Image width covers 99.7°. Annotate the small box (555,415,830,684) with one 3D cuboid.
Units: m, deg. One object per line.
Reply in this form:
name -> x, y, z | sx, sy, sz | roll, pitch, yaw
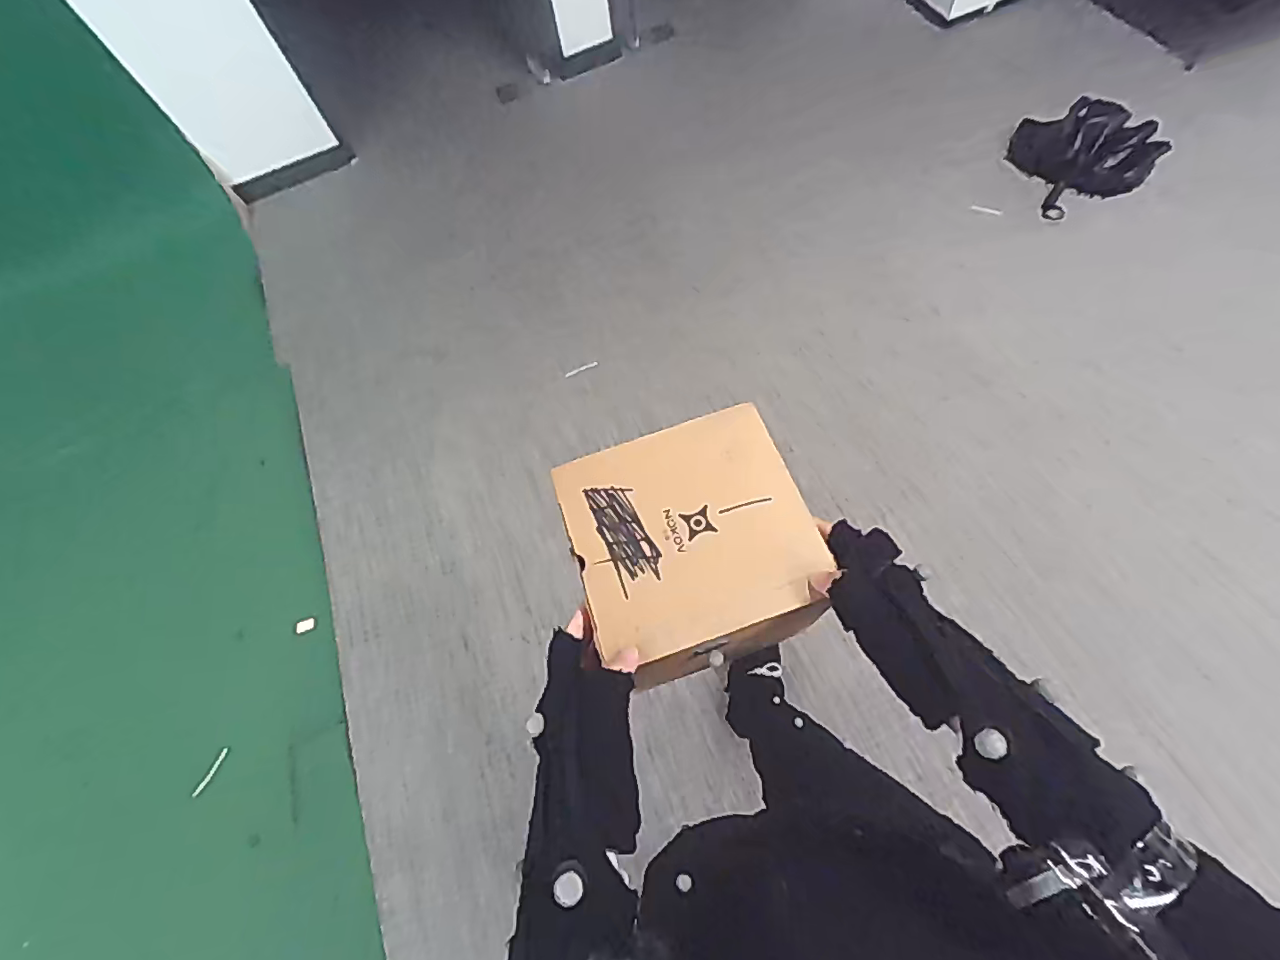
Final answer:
small box -> 0.042, 0.074, 0.492 | 0.179, 0.176, 0.168 | -19, 65, -3
